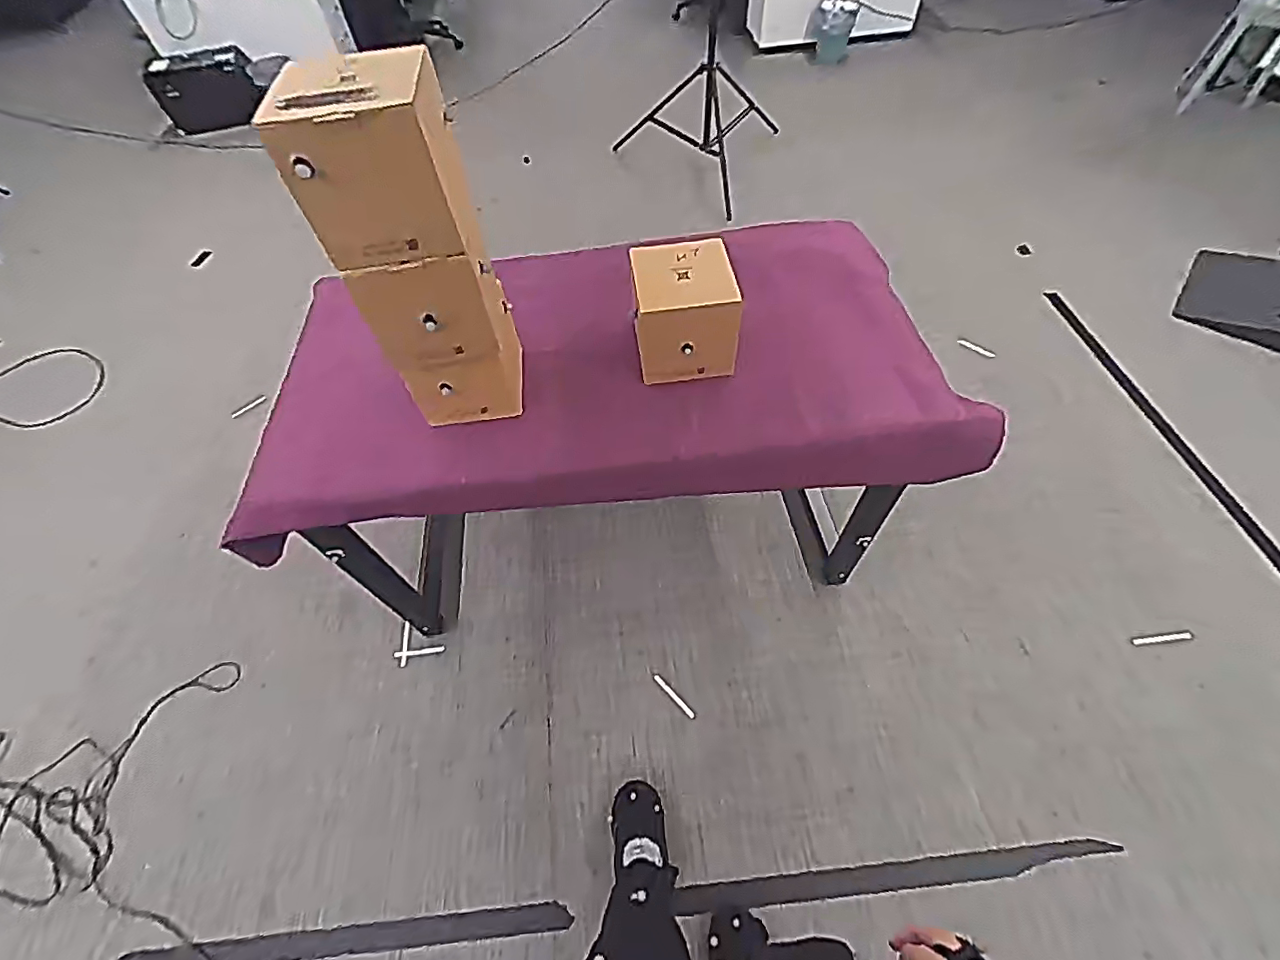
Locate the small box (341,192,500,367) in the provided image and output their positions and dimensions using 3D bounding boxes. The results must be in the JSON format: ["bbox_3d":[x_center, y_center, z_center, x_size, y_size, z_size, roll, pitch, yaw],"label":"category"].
[{"bbox_3d":[-0.310,-0.285,0.796,0.168,0.176,0.179,-11,57,-4],"label":"small box"}]

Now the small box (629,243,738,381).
[{"bbox_3d":[0.073,-0.293,0.971,0.168,0.176,0.179,-7,56,-2],"label":"small box"}]

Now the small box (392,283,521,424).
[{"bbox_3d":[-0.308,-0.212,0.944,0.168,0.176,0.179,-8,56,-2],"label":"small box"}]
